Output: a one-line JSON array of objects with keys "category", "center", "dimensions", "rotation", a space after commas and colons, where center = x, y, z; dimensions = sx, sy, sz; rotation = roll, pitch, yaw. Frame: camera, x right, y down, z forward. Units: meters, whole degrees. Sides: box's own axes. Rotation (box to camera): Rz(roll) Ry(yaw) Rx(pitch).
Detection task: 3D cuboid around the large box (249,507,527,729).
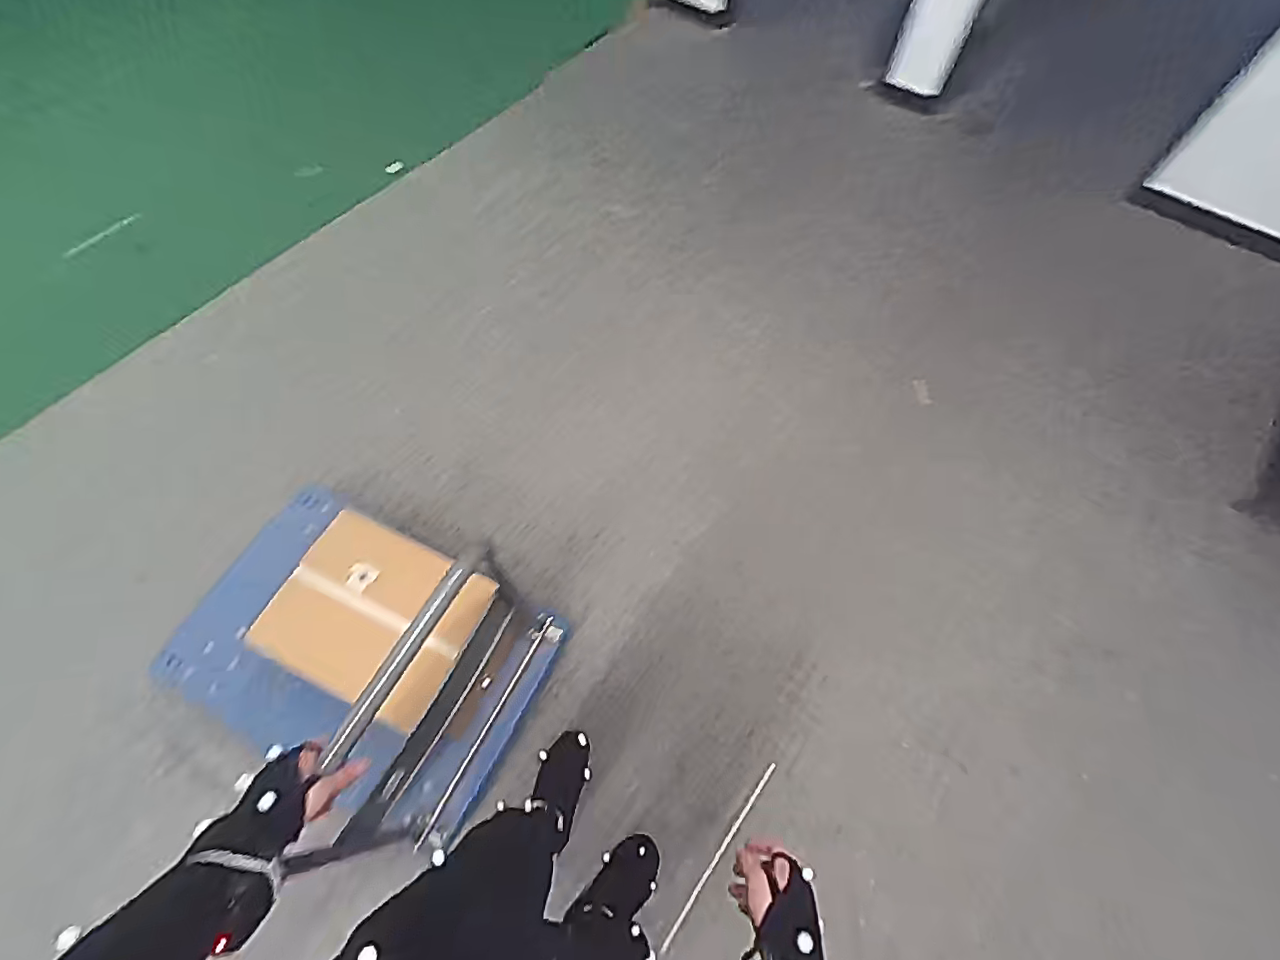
[{"category": "large box", "center": [-0.522, 0.320, 1.211], "dimensions": [0.408, 0.320, 0.320], "rotation": [24, 66, 11]}]
